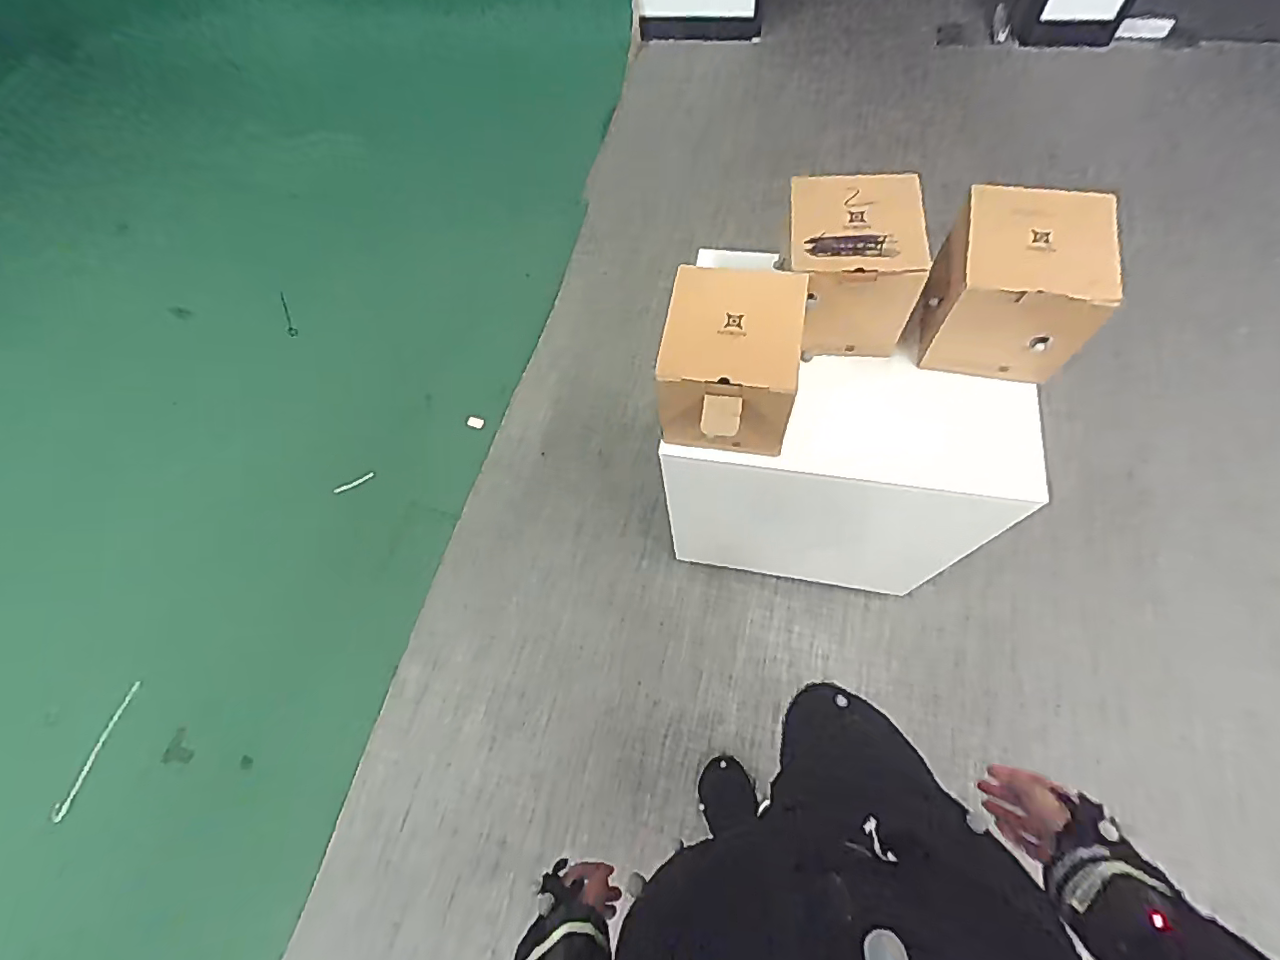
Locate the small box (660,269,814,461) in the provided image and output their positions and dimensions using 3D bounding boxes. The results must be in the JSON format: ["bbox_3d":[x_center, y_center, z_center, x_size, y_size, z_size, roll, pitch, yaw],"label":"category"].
[{"bbox_3d":[0.126,-0.149,0.723,0.168,0.176,0.179,9,66,10],"label":"small box"}]

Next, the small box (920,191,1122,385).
[{"bbox_3d":[0.494,-0.250,0.726,0.168,0.176,0.179,12,67,11],"label":"small box"}]
